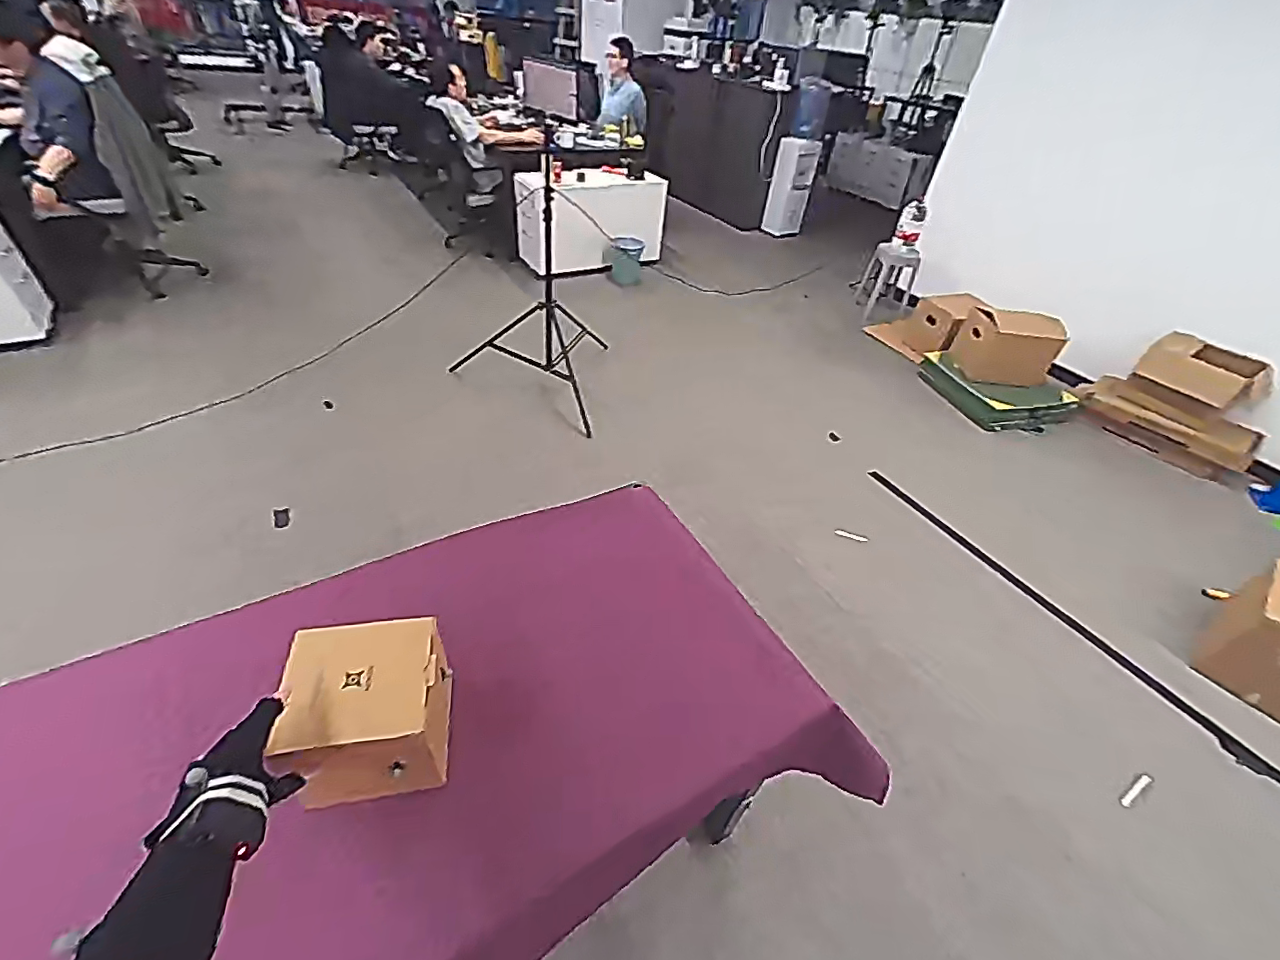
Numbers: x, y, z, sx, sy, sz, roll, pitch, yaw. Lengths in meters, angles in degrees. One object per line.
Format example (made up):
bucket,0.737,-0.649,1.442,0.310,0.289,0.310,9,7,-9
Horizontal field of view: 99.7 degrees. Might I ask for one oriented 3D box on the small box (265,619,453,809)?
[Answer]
small box,-0.355,0.312,0.727,0.179,0.176,0.168,-5,41,-12
